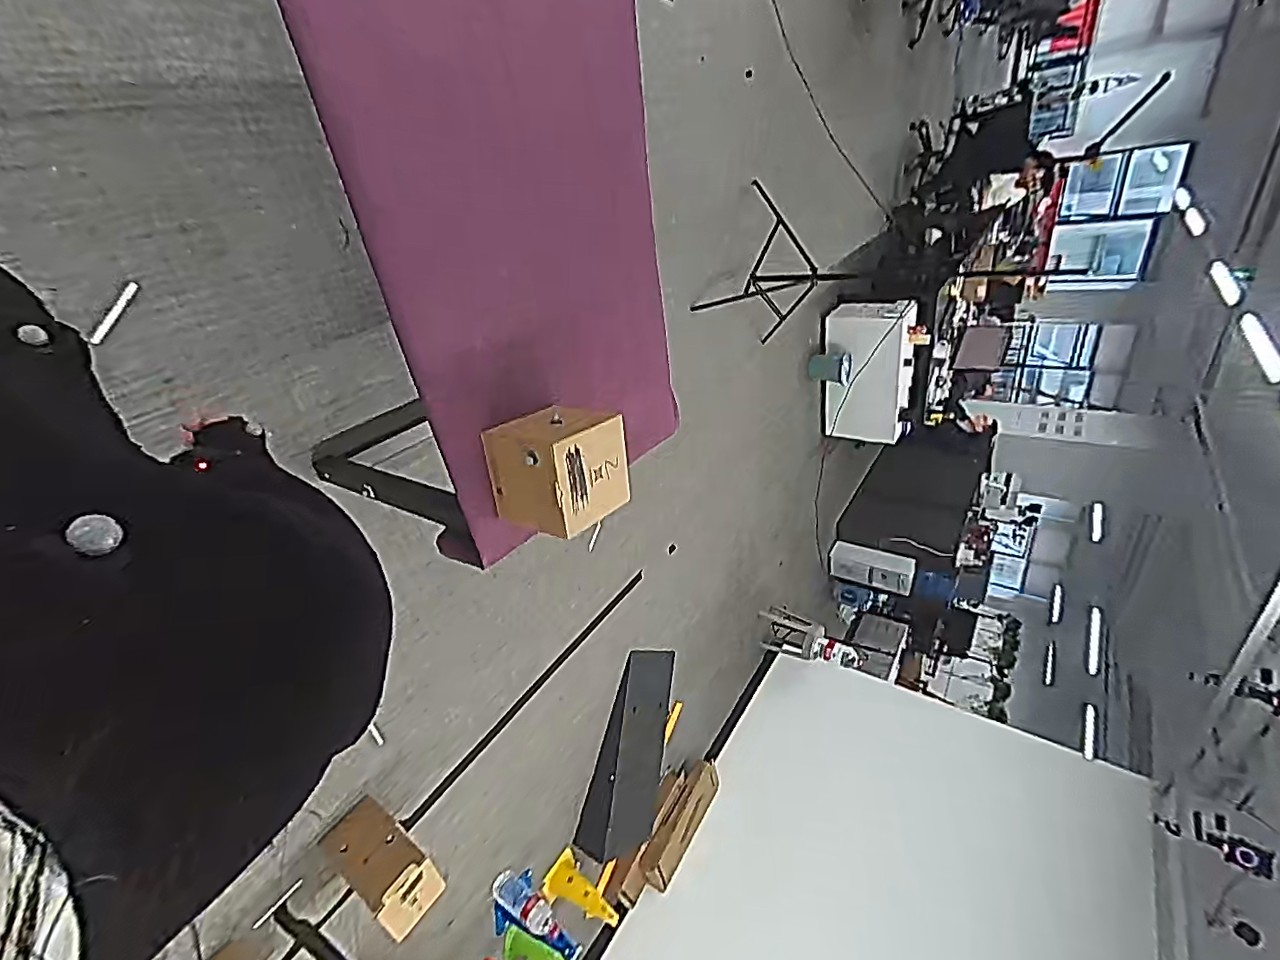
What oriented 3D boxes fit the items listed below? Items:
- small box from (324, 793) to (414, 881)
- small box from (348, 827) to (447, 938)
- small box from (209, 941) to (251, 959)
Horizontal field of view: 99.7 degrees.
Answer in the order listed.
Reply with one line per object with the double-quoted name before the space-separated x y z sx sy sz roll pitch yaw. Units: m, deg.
"small box" -0.821 1.103 1.640 0.179 0.176 0.168 -44 135 -40
"small box" -0.692 1.136 1.543 0.168 0.176 0.179 -40 133 -41
"small box" -1.067 1.342 1.368 0.179 0.176 0.168 -36 128 -43
